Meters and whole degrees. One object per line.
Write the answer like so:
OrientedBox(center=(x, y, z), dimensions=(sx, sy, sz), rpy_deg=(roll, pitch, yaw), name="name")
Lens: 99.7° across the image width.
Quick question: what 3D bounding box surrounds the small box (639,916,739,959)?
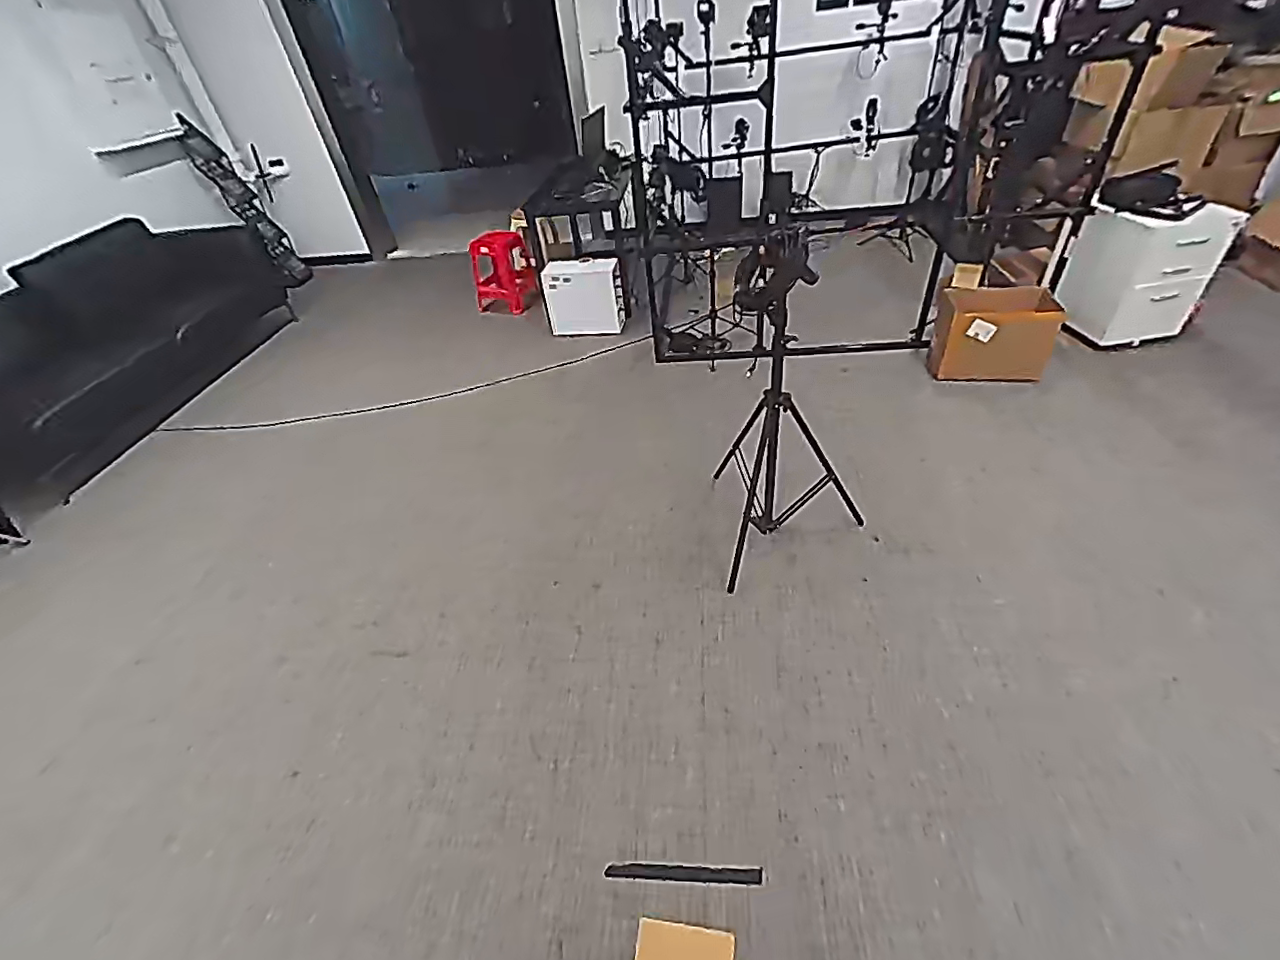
OrientedBox(center=(0.080, 0.878, 0.913), dimensions=(0.168, 0.176, 0.179), rpy_deg=(1, 42, 12), name="small box")
